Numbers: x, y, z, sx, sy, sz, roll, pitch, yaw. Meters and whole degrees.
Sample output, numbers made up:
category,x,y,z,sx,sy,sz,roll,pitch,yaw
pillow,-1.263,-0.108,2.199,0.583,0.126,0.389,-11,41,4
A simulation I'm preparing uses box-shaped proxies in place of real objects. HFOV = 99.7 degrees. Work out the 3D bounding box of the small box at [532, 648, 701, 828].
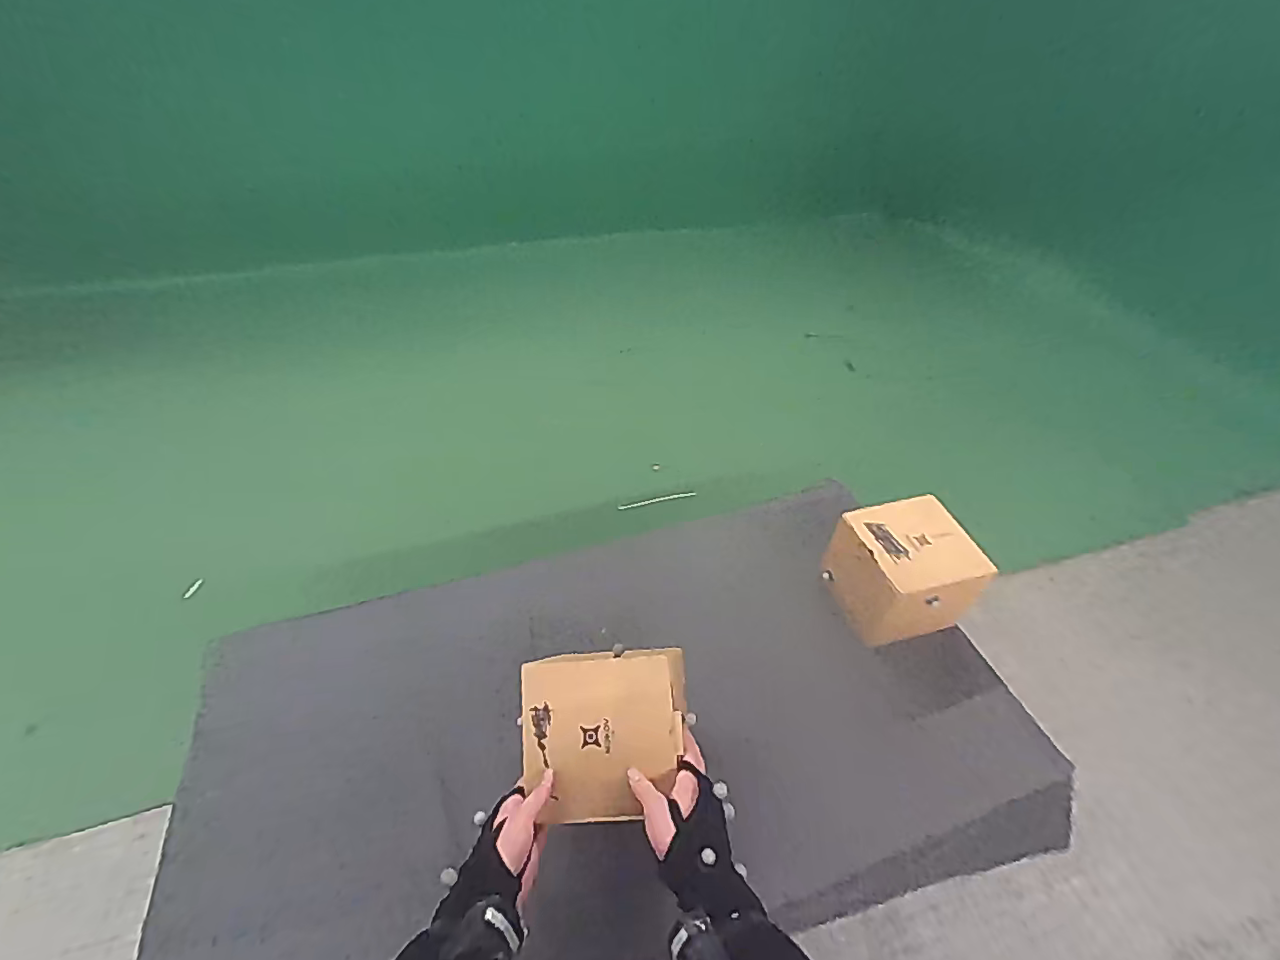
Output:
category,x,y,z,sx,sy,sz,roll,pitch,yaw
small box,-0.023,0.295,0.651,0.179,0.176,0.168,-5,75,4

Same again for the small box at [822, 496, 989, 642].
category,x,y,z,sx,sy,sz,roll,pitch,yaw
small box,0.432,0.153,0.923,0.179,0.176,0.168,-9,47,-14
